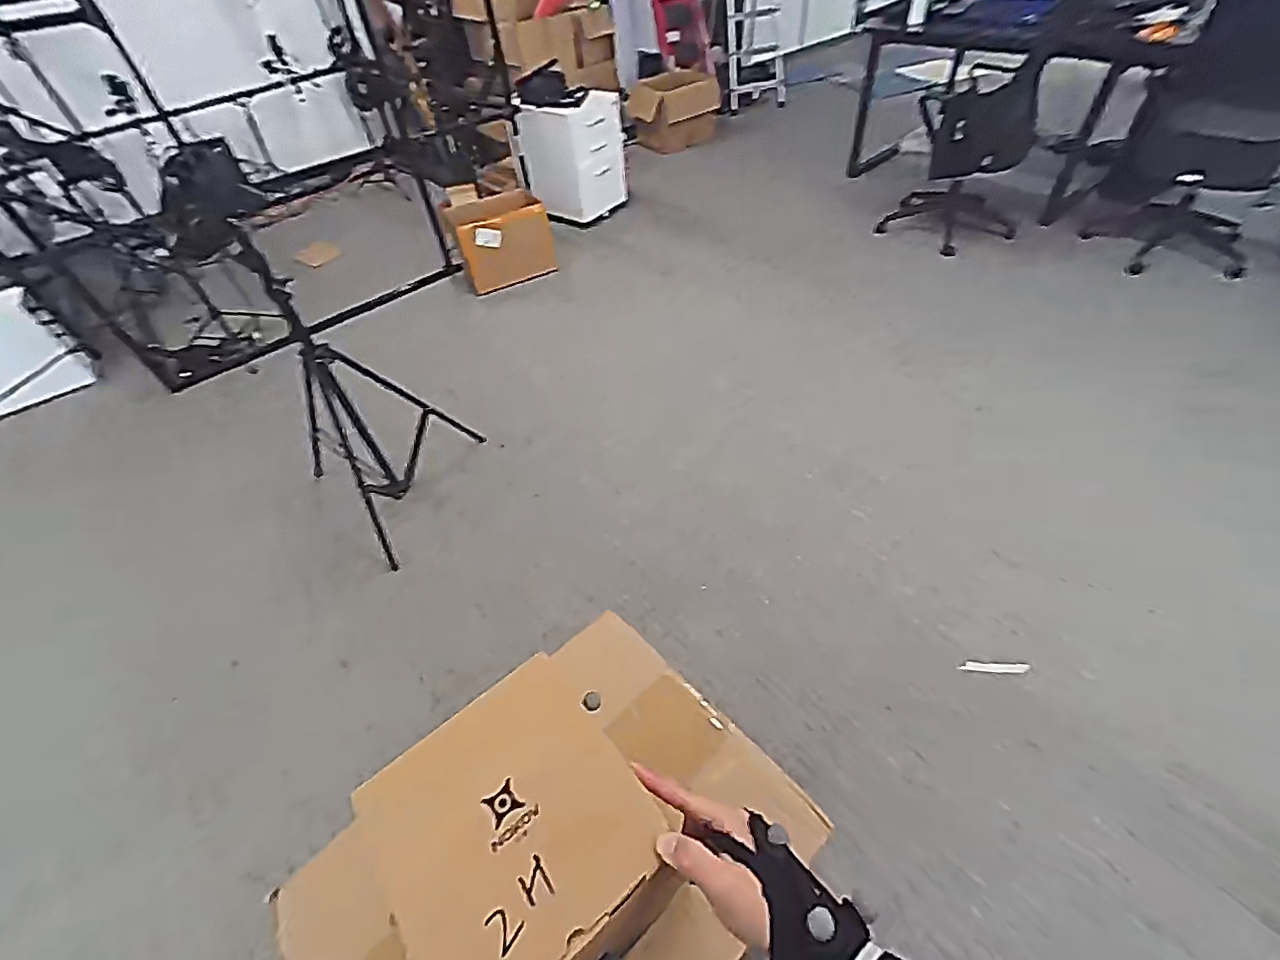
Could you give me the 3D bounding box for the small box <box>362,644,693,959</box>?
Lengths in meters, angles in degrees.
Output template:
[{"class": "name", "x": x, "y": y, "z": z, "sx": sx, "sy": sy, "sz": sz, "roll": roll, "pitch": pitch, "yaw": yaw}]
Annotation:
[{"class": "small box", "x": -0.075, "y": 0.272, "z": 0.419, "sx": 0.168, "sy": 0.176, "sz": 0.179, "roll": -33, "pitch": 51, "yaw": -22}]
